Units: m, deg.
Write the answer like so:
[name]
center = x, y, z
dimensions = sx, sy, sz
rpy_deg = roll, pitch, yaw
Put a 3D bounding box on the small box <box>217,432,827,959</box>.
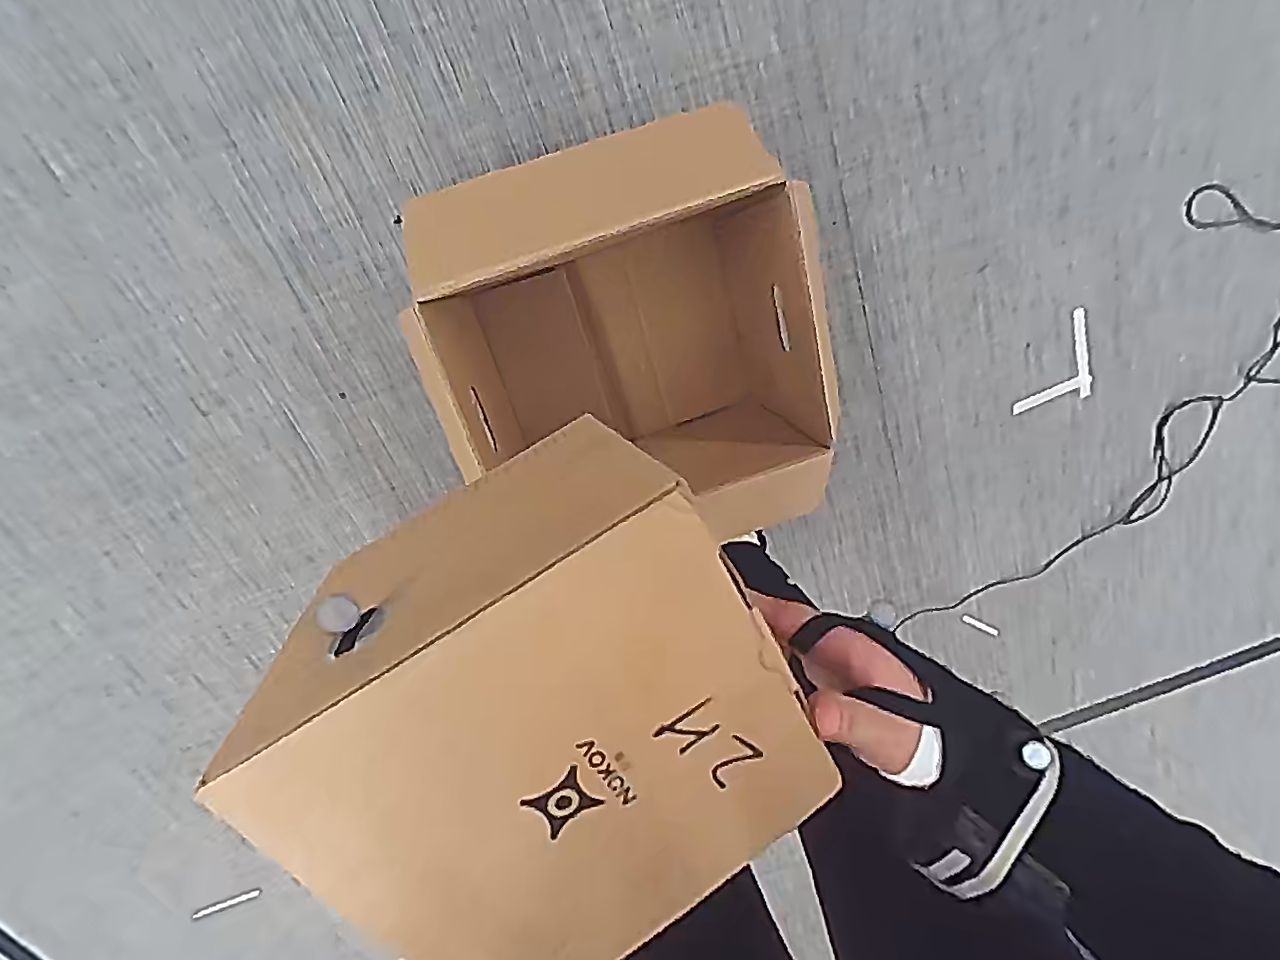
[small box]
center = -0.046, 0.095, 0.279
dimensions = 0.179, 0.176, 0.168
rpy_deg = -32, 111, -7
